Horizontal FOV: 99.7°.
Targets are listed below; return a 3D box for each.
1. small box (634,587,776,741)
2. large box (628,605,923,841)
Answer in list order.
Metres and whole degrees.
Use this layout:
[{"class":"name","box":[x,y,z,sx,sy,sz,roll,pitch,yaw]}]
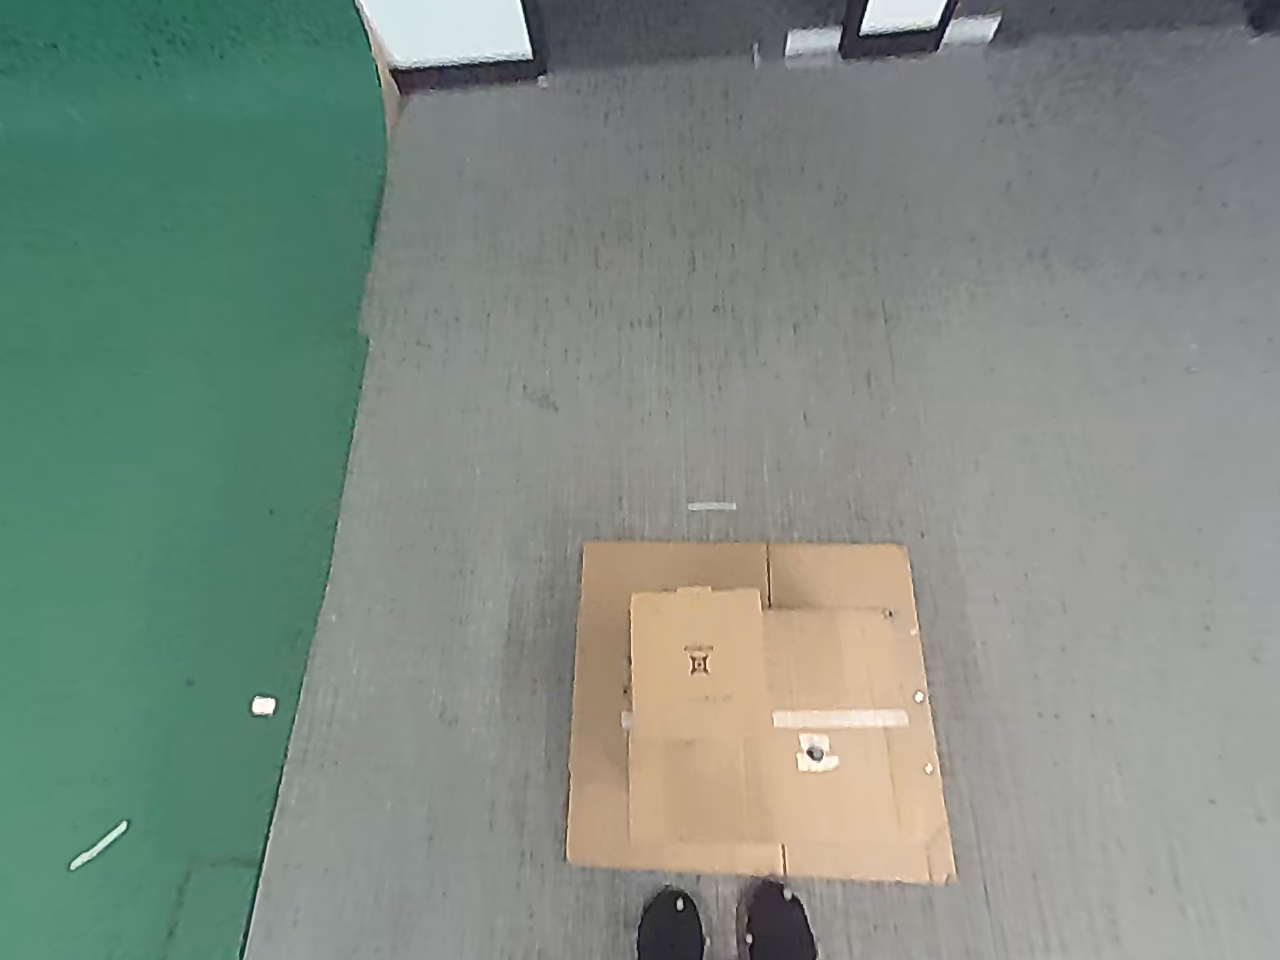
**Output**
[{"class":"small box","box":[0.078,0.249,0.729,0.168,0.176,0.179,-3,69,3]},{"class":"large box","box":[0.189,0.397,0.927,0.408,0.320,0.320,-1,70,2]}]
